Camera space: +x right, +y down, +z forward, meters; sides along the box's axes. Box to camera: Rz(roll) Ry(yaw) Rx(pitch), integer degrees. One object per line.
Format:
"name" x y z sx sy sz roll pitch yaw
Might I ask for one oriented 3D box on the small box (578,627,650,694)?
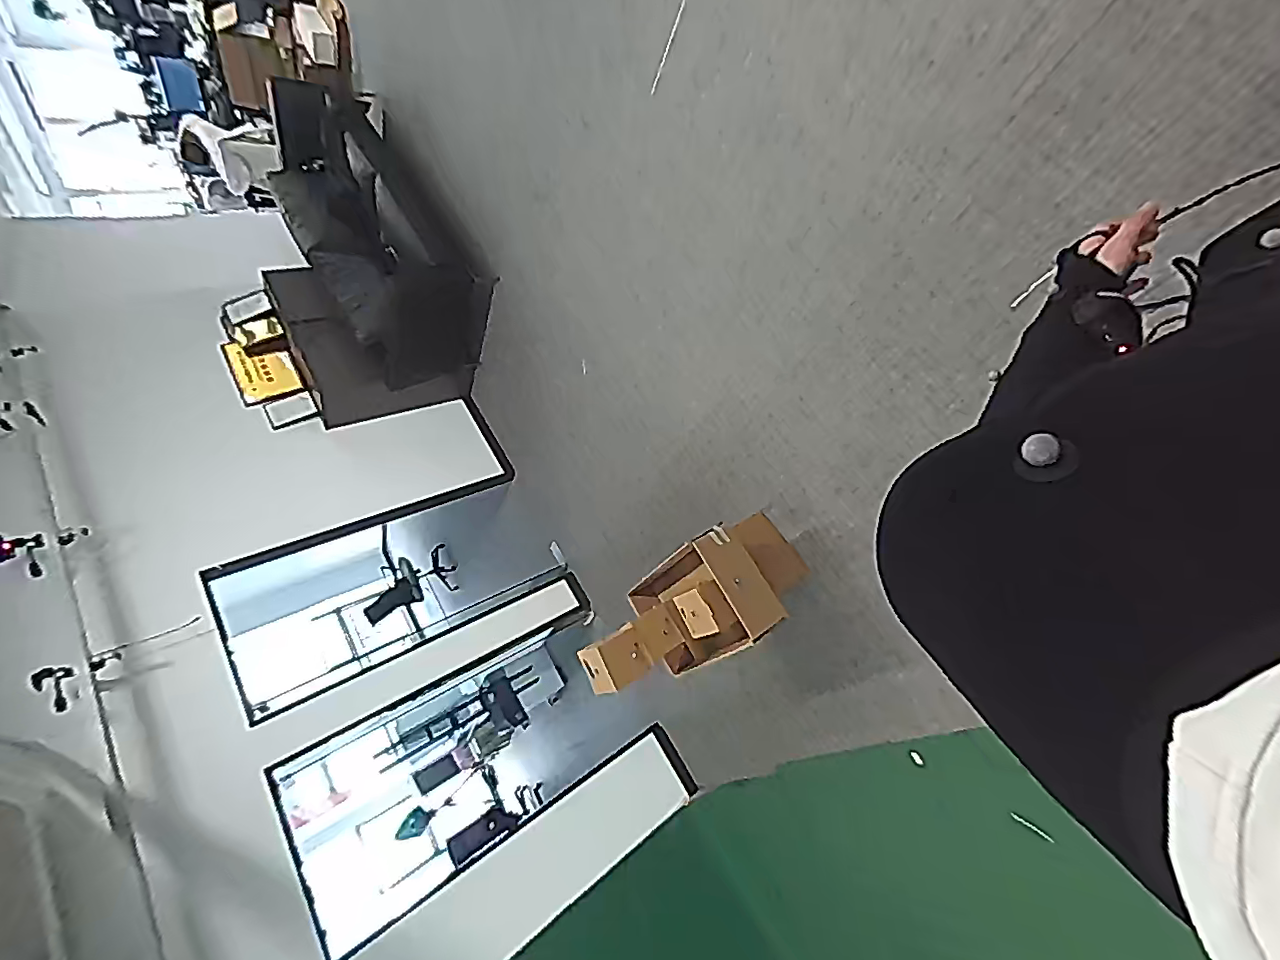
"small box" -0.093 0.650 1.947 0.179 0.176 0.168 -37 77 52

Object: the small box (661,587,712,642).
"small box" 0.152 0.549 2.138 0.168 0.176 0.179 57 142 15

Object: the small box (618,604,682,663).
"small box" 0.031 0.596 2.041 0.168 0.176 0.179 57 142 16
